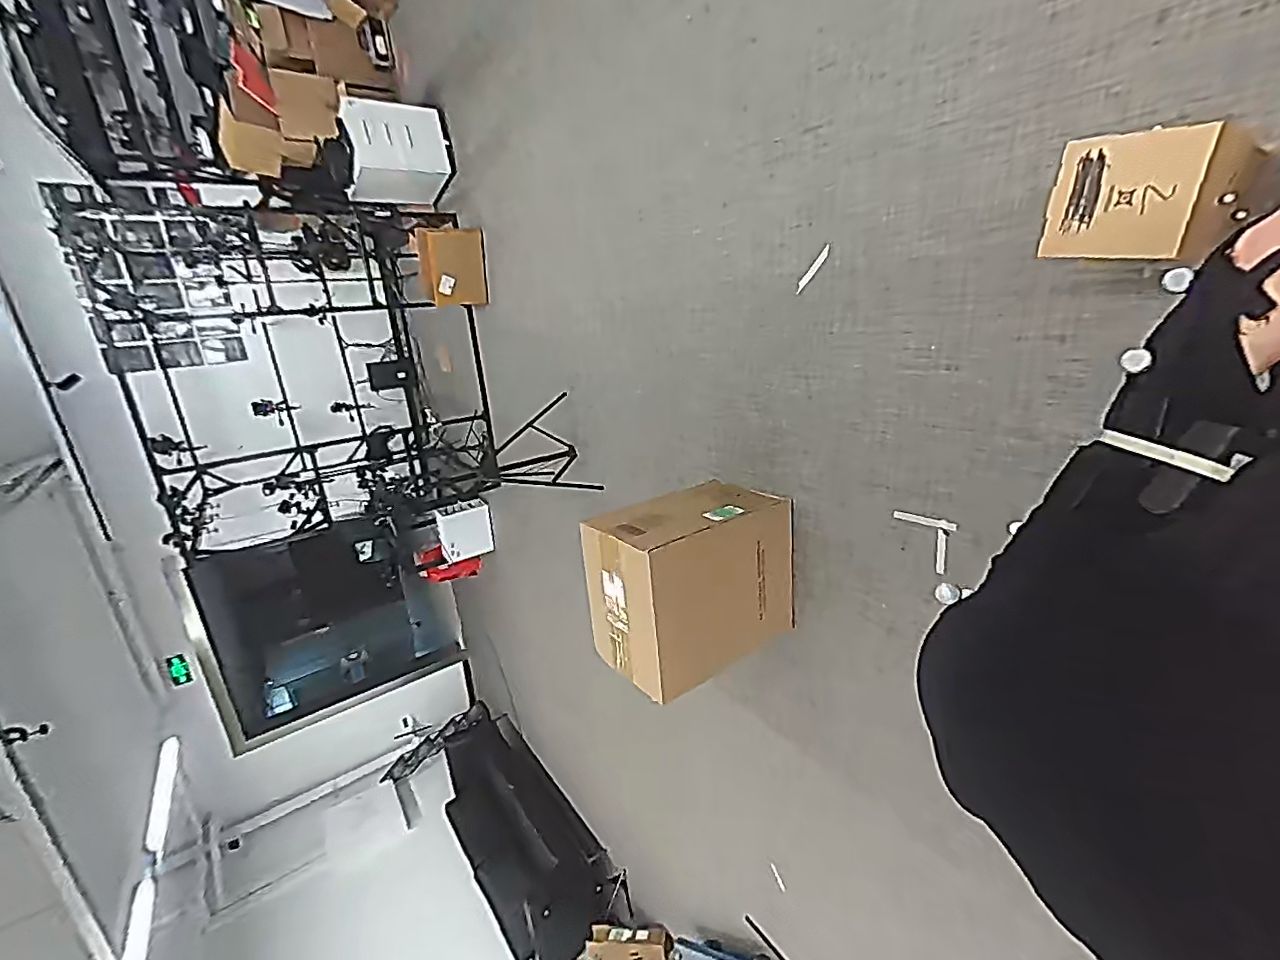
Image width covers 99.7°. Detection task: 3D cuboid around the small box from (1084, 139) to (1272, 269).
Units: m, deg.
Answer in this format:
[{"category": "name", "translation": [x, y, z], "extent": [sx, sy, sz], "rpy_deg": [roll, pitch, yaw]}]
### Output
[{"category": "small box", "translation": [0.894, -0.450, 0.902], "extent": [0.168, 0.176, 0.179], "rpy_deg": [30, 128, 49]}]
